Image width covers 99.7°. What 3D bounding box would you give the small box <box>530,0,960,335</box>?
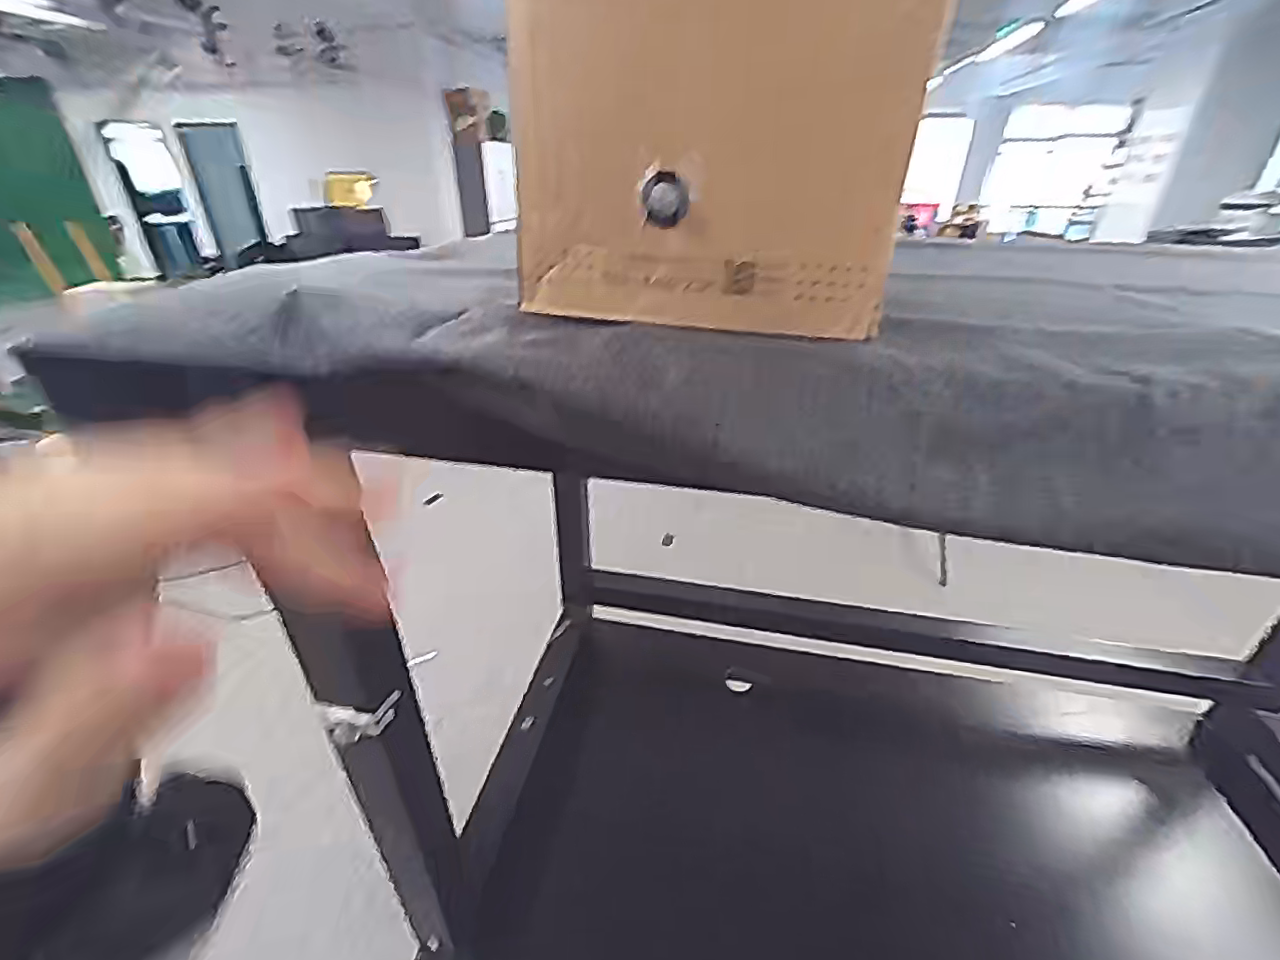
[{"bbox_3d":[0.045,-0.185,0.286,0.168,0.176,0.179,7,29,8],"label":"small box"}]
